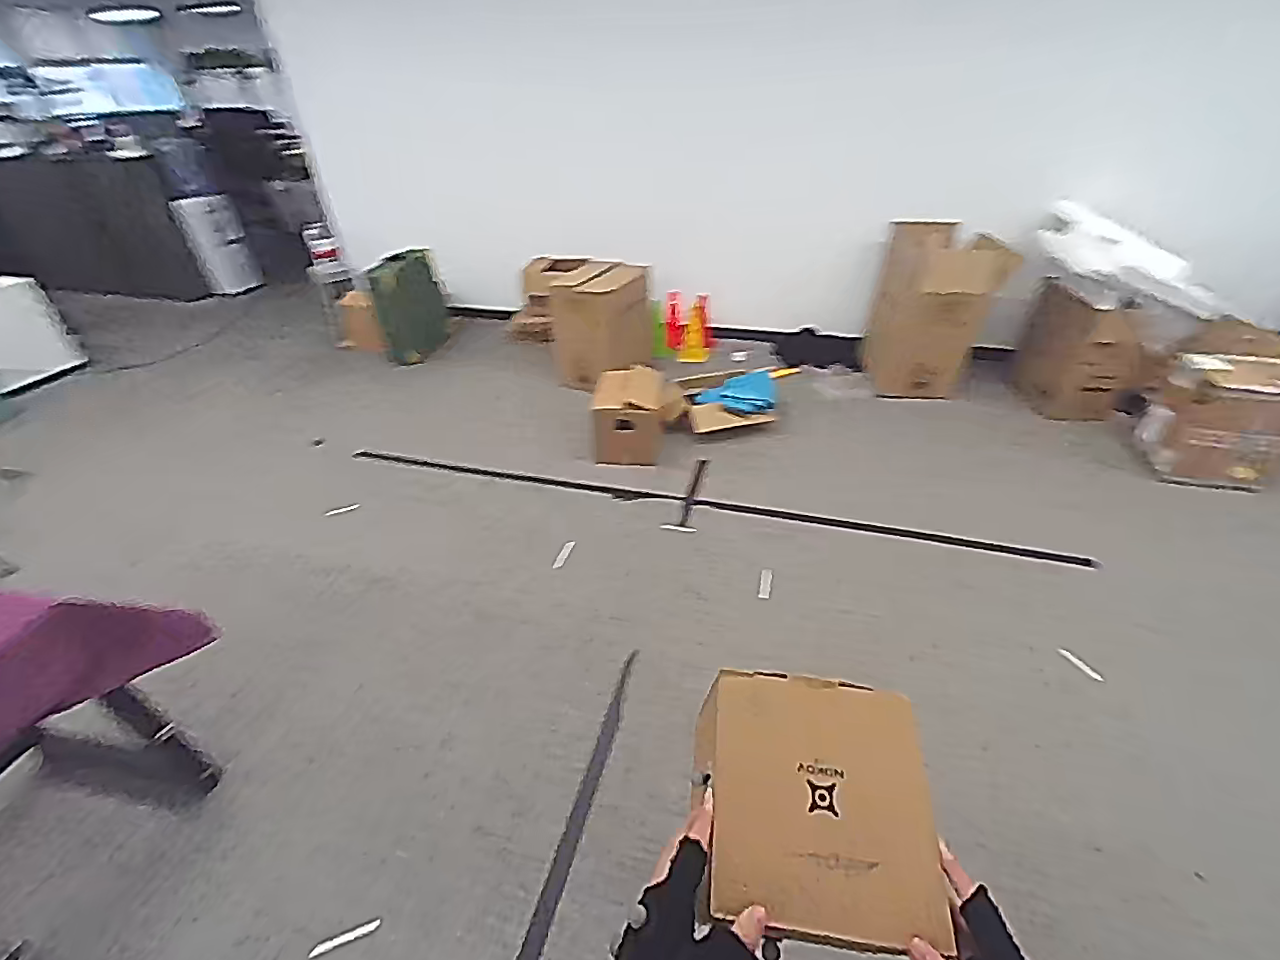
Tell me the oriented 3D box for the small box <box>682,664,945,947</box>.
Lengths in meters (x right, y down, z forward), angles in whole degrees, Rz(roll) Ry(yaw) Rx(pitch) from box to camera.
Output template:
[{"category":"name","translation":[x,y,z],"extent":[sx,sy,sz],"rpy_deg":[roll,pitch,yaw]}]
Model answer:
[{"category":"small box","translation":[0.128,0.287,0.477],"extent":[0.168,0.176,0.179],"rpy_deg":[5,50,2]}]
